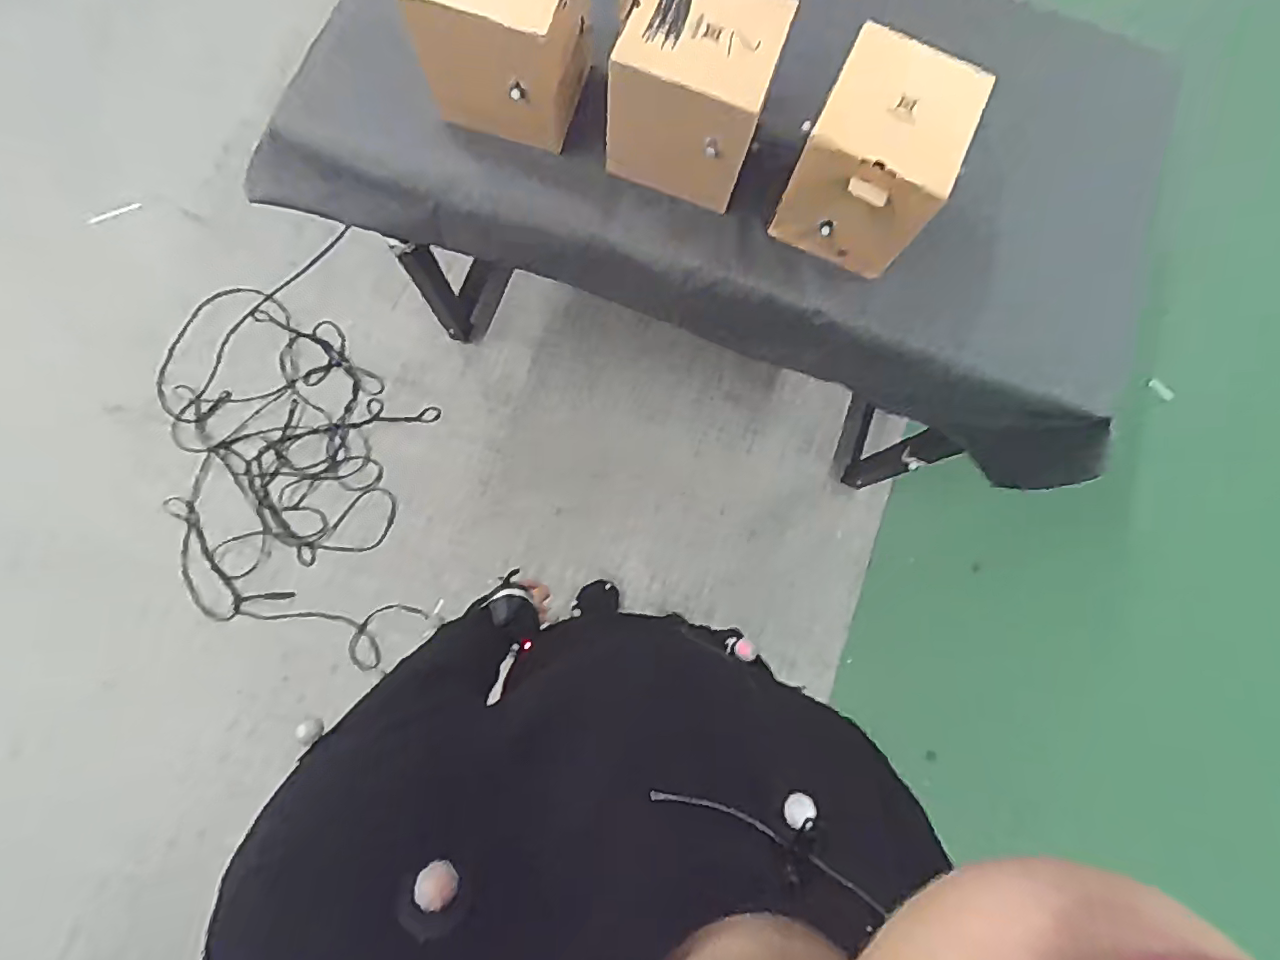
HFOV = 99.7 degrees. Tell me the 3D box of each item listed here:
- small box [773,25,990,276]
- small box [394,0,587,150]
[{"bbox_3d":[0.289,-0.400,0.683,0.168,0.176,0.179,25,79,0],"label":"small box"},{"bbox_3d":[-0.170,-0.558,0.680,0.179,0.176,0.168,15,77,-1],"label":"small box"}]
